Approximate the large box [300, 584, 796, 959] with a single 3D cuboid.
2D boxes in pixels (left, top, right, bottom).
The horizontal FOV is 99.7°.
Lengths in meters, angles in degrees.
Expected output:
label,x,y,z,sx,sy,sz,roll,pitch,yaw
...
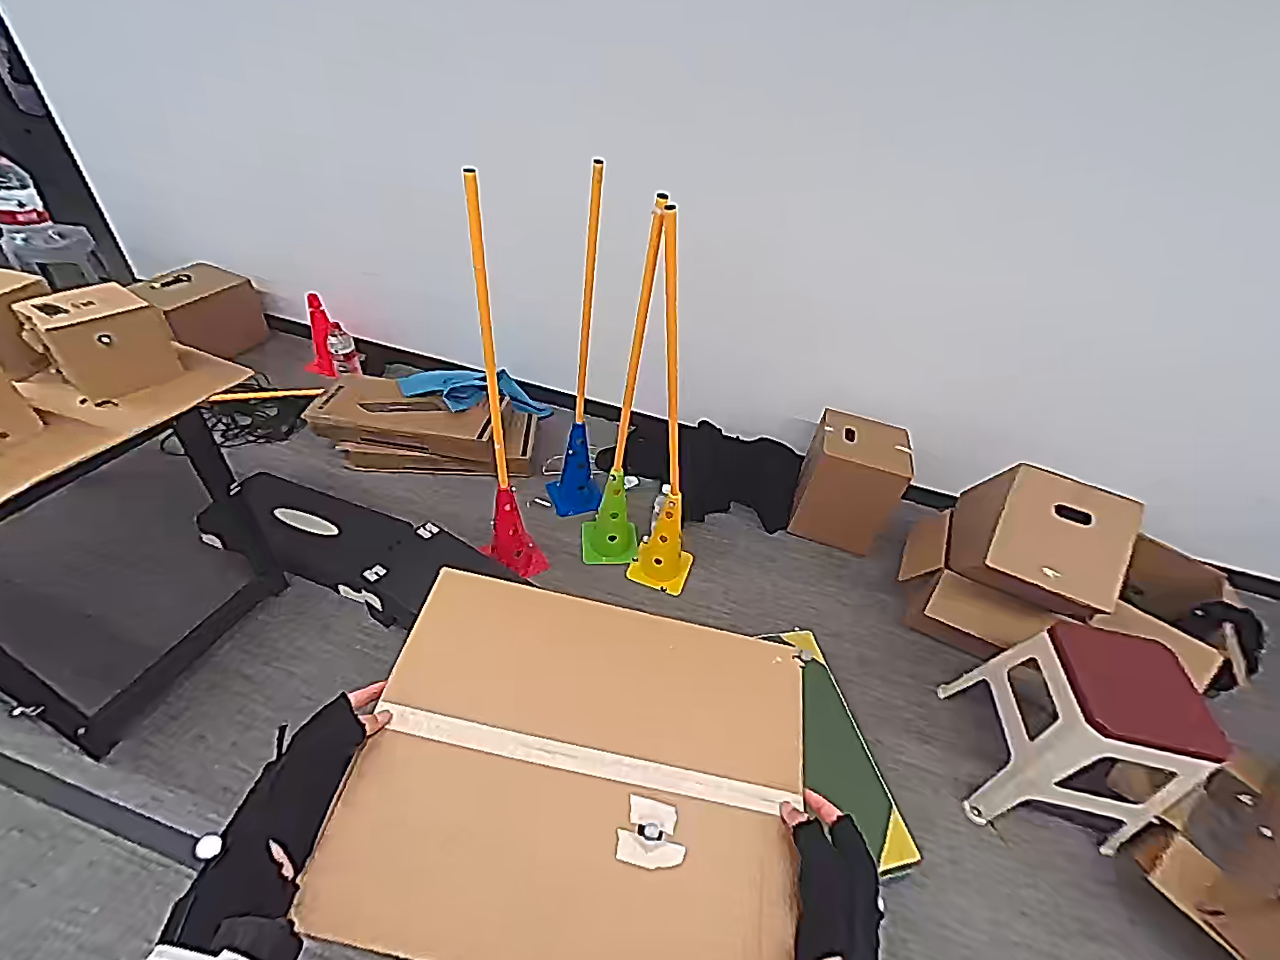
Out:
label,x,y,z,sx,sy,sz,roll,pitch,yaw
large box,-0.069,0.363,0.626,0.408,0.320,0.320,13,52,0
